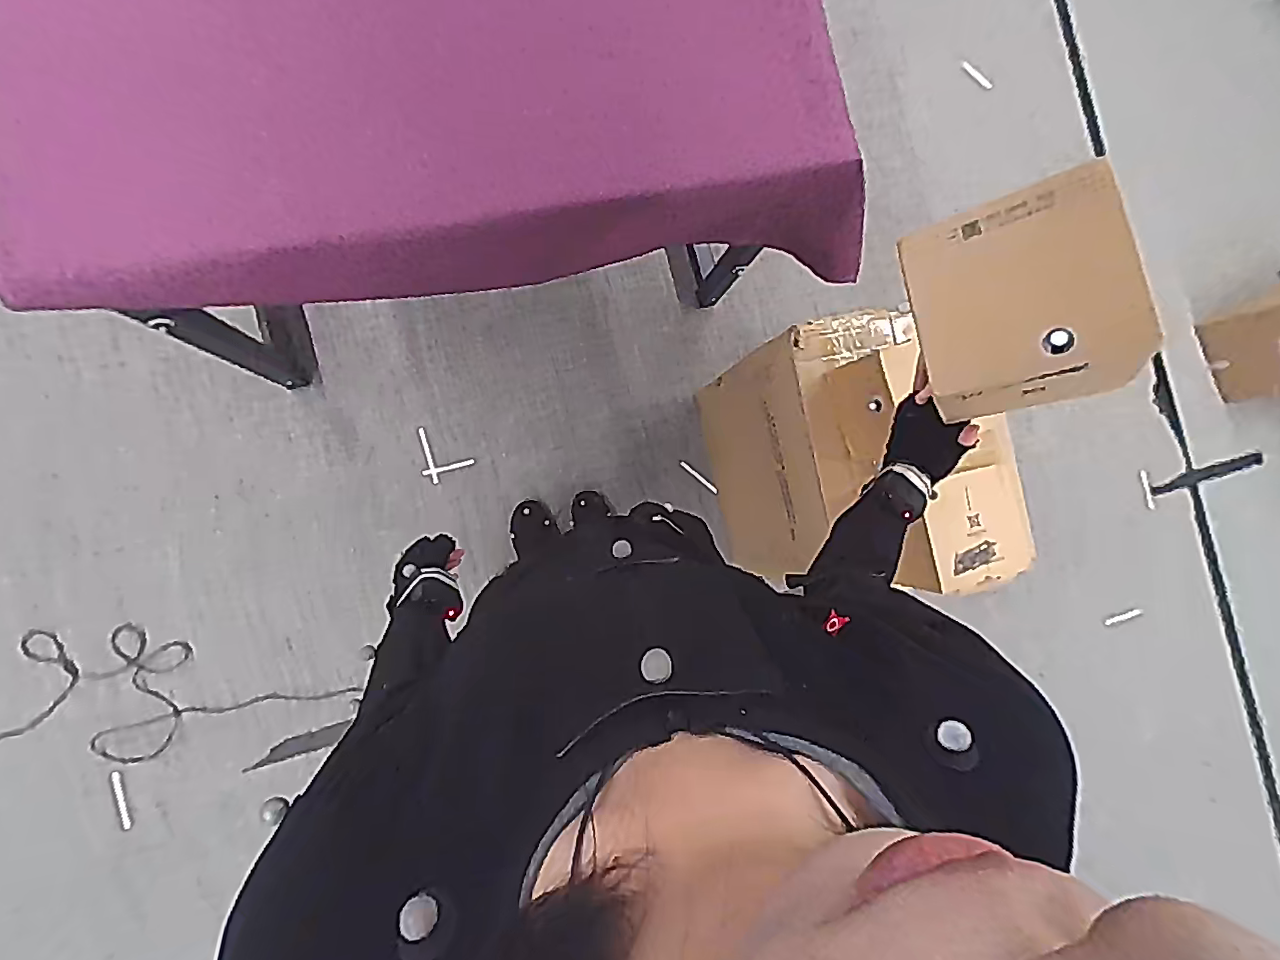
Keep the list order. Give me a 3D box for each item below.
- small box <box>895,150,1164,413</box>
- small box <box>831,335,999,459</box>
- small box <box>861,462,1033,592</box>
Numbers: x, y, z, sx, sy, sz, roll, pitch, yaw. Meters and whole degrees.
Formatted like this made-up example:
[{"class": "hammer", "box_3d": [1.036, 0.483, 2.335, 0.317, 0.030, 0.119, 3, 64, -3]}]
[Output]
[{"class": "small box", "box_3d": [0.369, -0.179, 0.539, 0.168, 0.179, 0.176, -15, 79, 31]}, {"class": "small box", "box_3d": [0.452, -0.142, 0.915, 0.168, 0.176, 0.179, -18, 92, -9]}, {"class": "small box", "box_3d": [0.505, 0.076, 0.912, 0.168, 0.176, 0.179, -13, 87, -10]}]
